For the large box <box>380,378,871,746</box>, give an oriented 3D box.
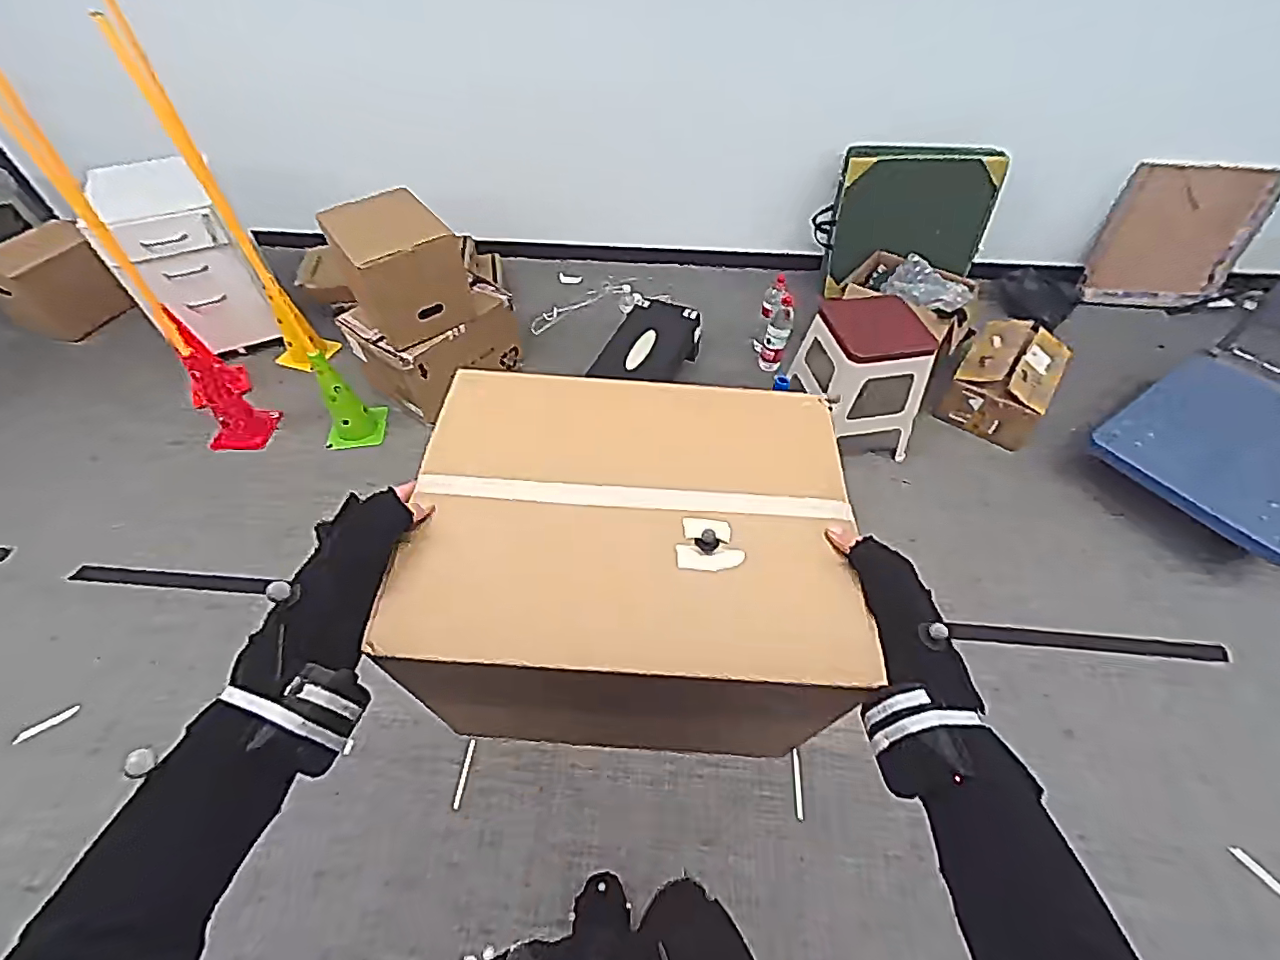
[{"bbox_3d":[-0.013,0.108,0.636,0.408,0.320,0.320,4,54,0],"label":"large box"}]
